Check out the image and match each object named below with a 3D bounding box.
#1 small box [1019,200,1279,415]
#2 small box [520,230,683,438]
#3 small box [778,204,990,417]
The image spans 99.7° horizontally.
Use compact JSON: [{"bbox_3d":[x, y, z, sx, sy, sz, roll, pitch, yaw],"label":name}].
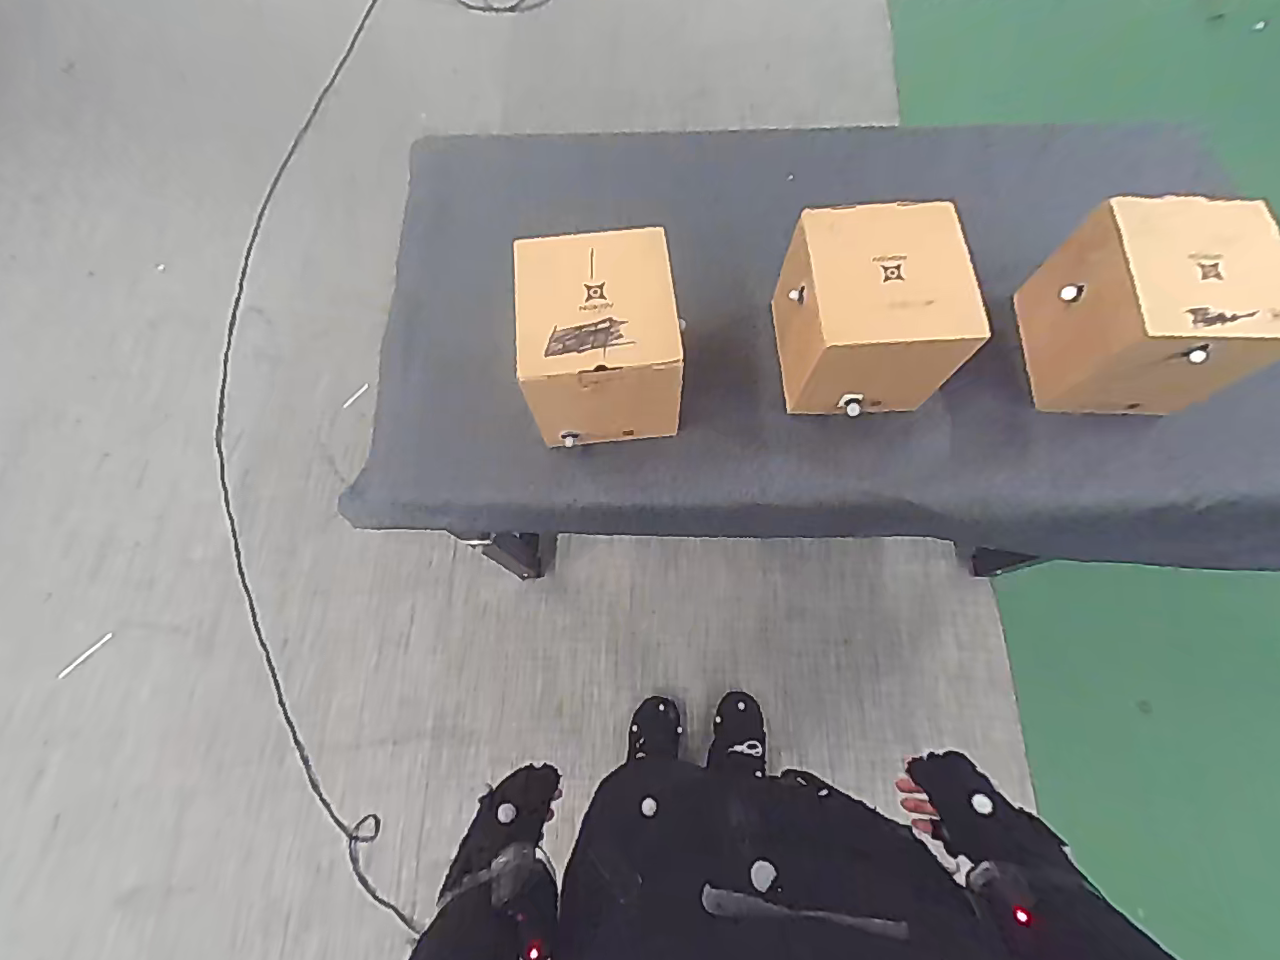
[{"bbox_3d":[0.584,-0.193,0.631,0.168,0.176,0.179,2,71,3],"label":"small box"},{"bbox_3d":[-0.041,-0.158,0.636,0.168,0.176,0.179,-6,69,-1],"label":"small box"},{"bbox_3d":[0.268,-0.192,0.643,0.168,0.176,0.179,-3,72,2],"label":"small box"}]
